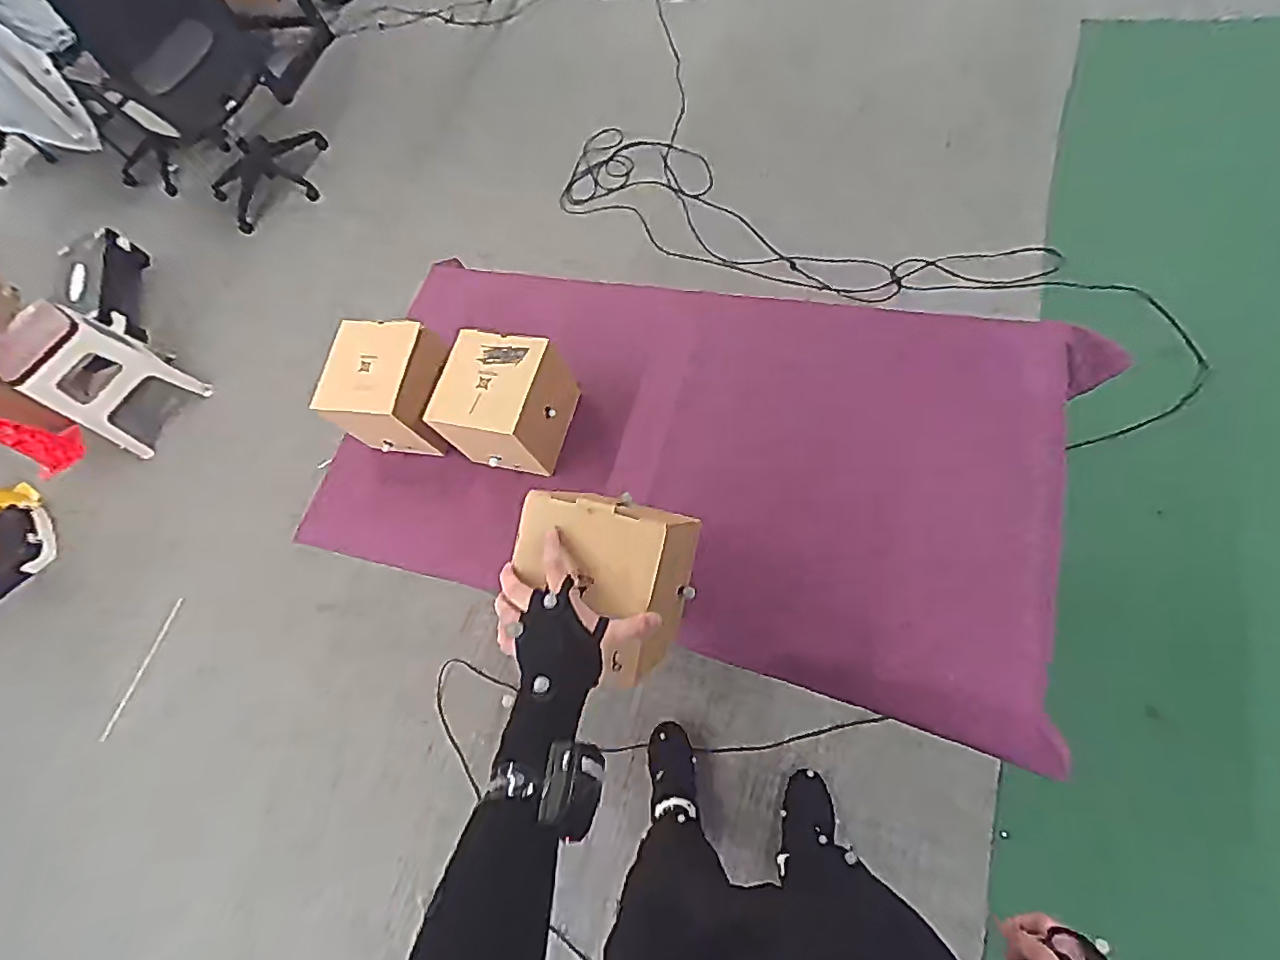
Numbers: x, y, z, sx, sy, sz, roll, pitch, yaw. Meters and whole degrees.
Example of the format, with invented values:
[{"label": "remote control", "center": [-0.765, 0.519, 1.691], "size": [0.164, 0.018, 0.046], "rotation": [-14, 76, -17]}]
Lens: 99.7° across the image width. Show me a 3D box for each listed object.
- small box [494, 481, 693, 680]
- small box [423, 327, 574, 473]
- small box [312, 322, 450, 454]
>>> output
[{"label": "small box", "center": [-0.043, 0.107, 0.648], "size": [0.168, 0.176, 0.179], "rotation": [13, 91, 20]}, {"label": "small box", "center": [-0.227, -0.132, 0.924], "size": [0.168, 0.176, 0.179], "rotation": [11, 72, 18]}, {"label": "small box", "center": [-0.443, -0.165, 0.989], "size": [0.168, 0.176, 0.179], "rotation": [6, 71, 16]}]
